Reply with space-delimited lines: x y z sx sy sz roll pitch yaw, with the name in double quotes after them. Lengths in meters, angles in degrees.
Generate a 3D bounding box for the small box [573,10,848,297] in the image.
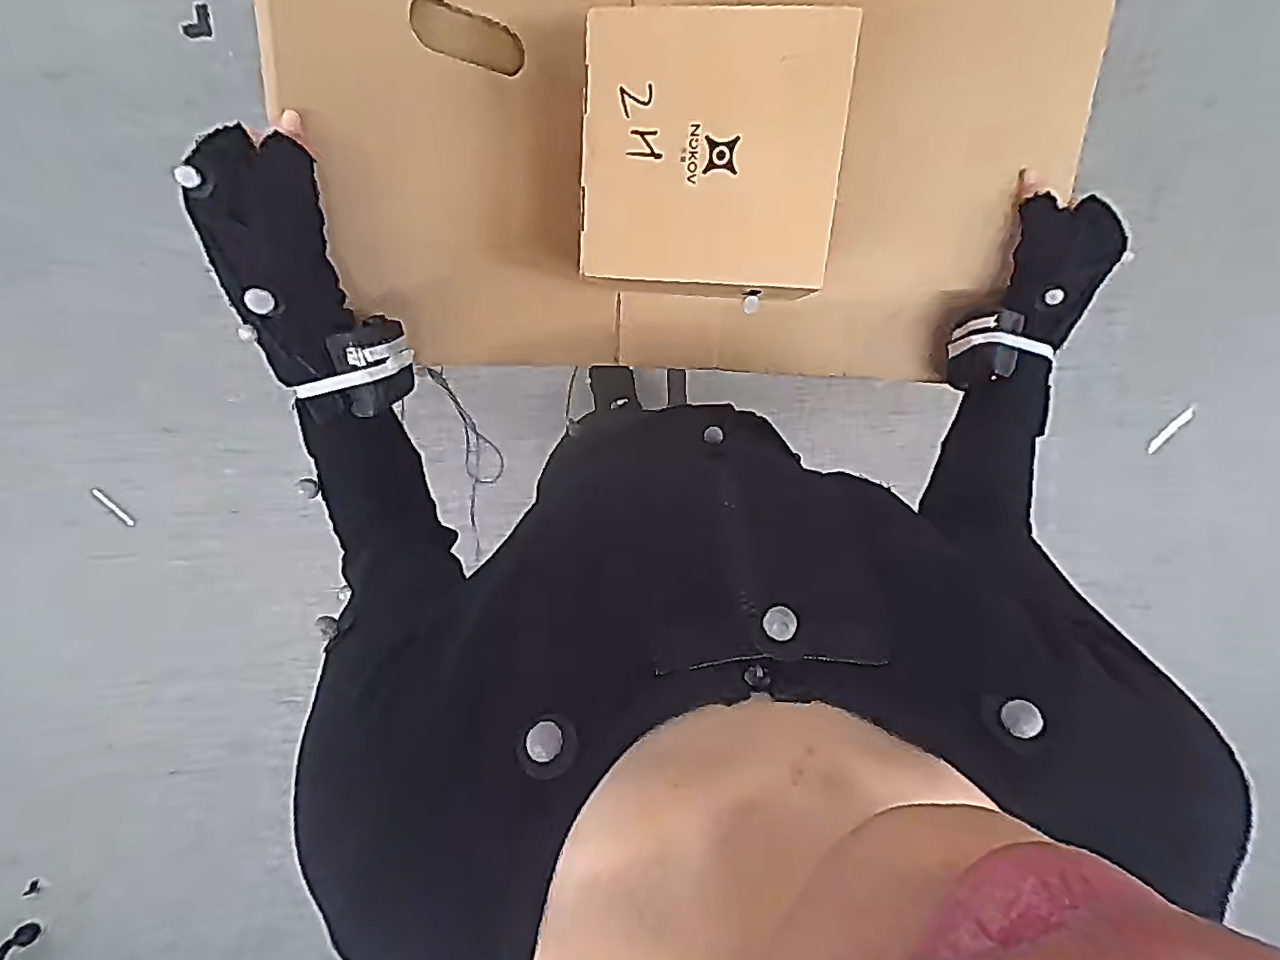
0.051 -0.246 0.448 0.179 0.176 0.168 6 106 7 "small box"
